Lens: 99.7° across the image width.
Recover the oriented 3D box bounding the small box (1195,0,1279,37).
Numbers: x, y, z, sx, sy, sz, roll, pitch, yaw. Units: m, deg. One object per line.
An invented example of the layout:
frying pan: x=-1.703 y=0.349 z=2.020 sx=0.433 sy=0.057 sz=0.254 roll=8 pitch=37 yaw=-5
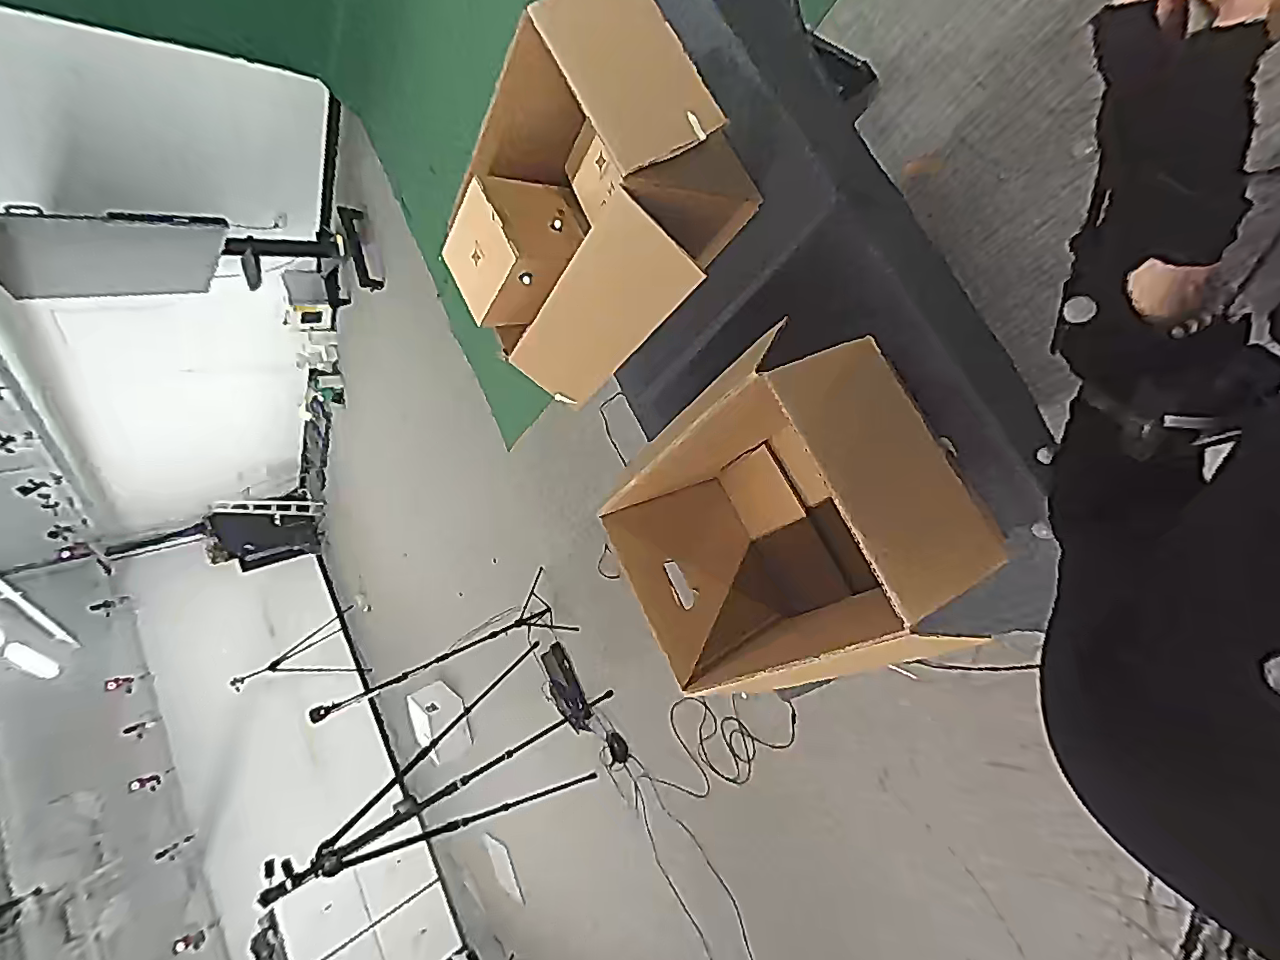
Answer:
small box: x=0.326 y=-0.343 z=0.237 sx=0.168 sy=0.176 sz=0.179 roll=-34 pitch=85 yaw=52
